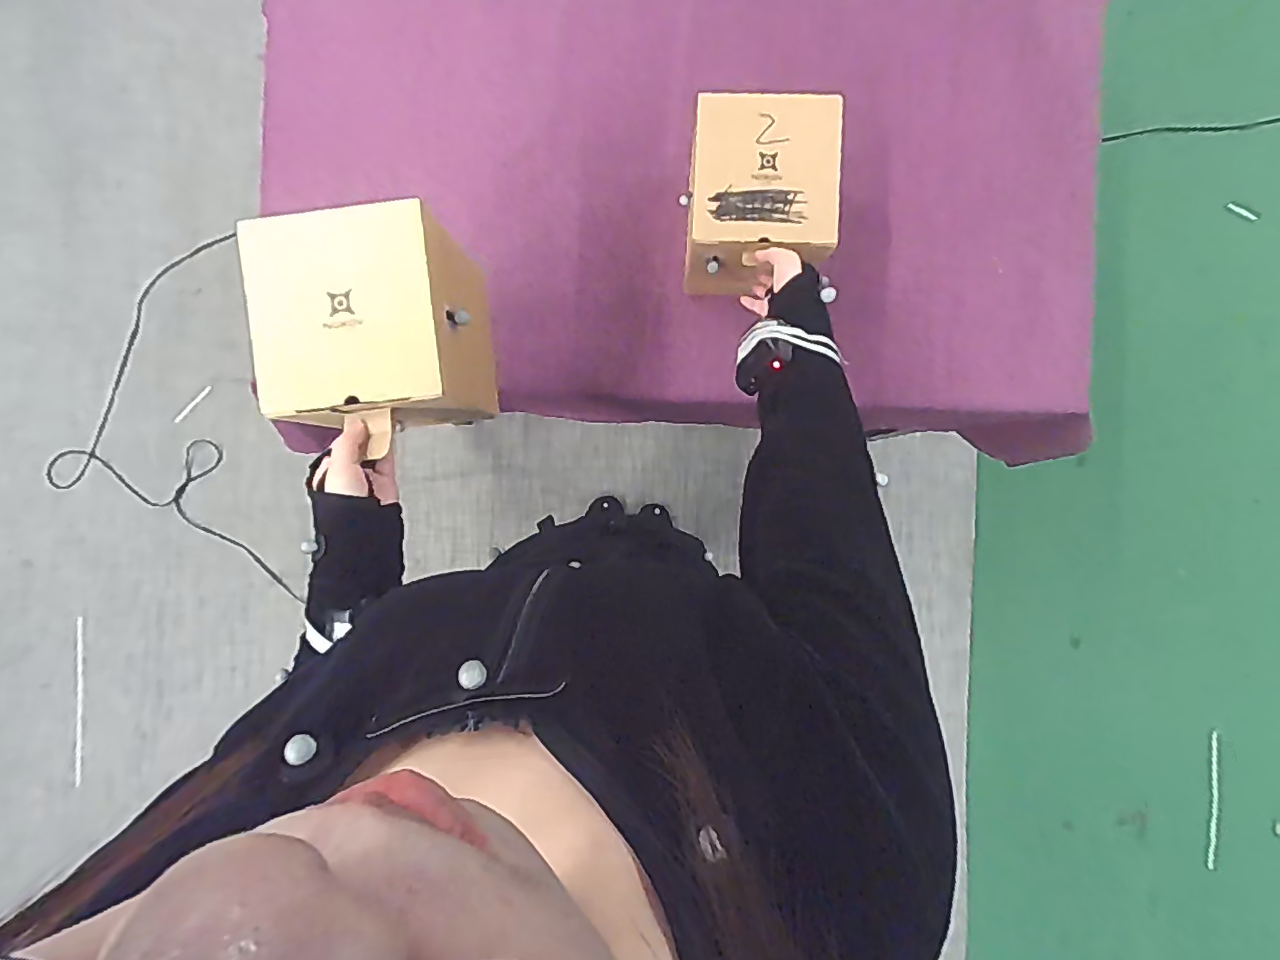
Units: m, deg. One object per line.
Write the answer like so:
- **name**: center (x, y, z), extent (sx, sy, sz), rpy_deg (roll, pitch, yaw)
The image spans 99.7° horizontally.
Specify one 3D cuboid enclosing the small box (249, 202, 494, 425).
- **small box**: center (-0.263, -0.159, 0.568), extent (0.168, 0.176, 0.179), rpy_deg (-6, 92, 1)
